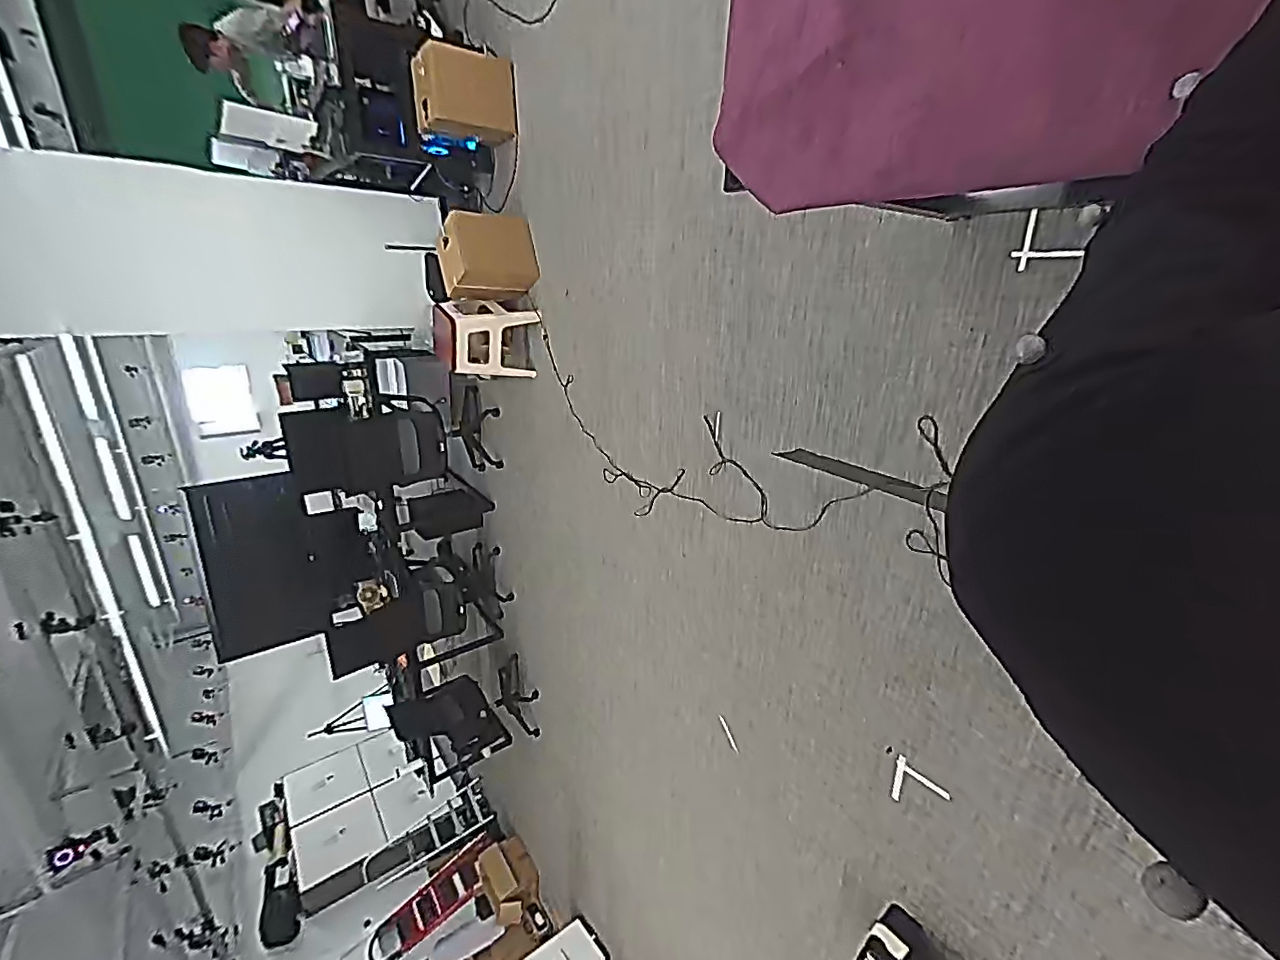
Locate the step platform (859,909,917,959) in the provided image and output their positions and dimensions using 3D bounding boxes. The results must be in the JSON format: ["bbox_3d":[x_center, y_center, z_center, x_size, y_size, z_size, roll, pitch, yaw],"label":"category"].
[{"bbox_3d":[0.966,1.659,1.554,0.684,0.204,0.286,24,121,47],"label":"step platform"}]
